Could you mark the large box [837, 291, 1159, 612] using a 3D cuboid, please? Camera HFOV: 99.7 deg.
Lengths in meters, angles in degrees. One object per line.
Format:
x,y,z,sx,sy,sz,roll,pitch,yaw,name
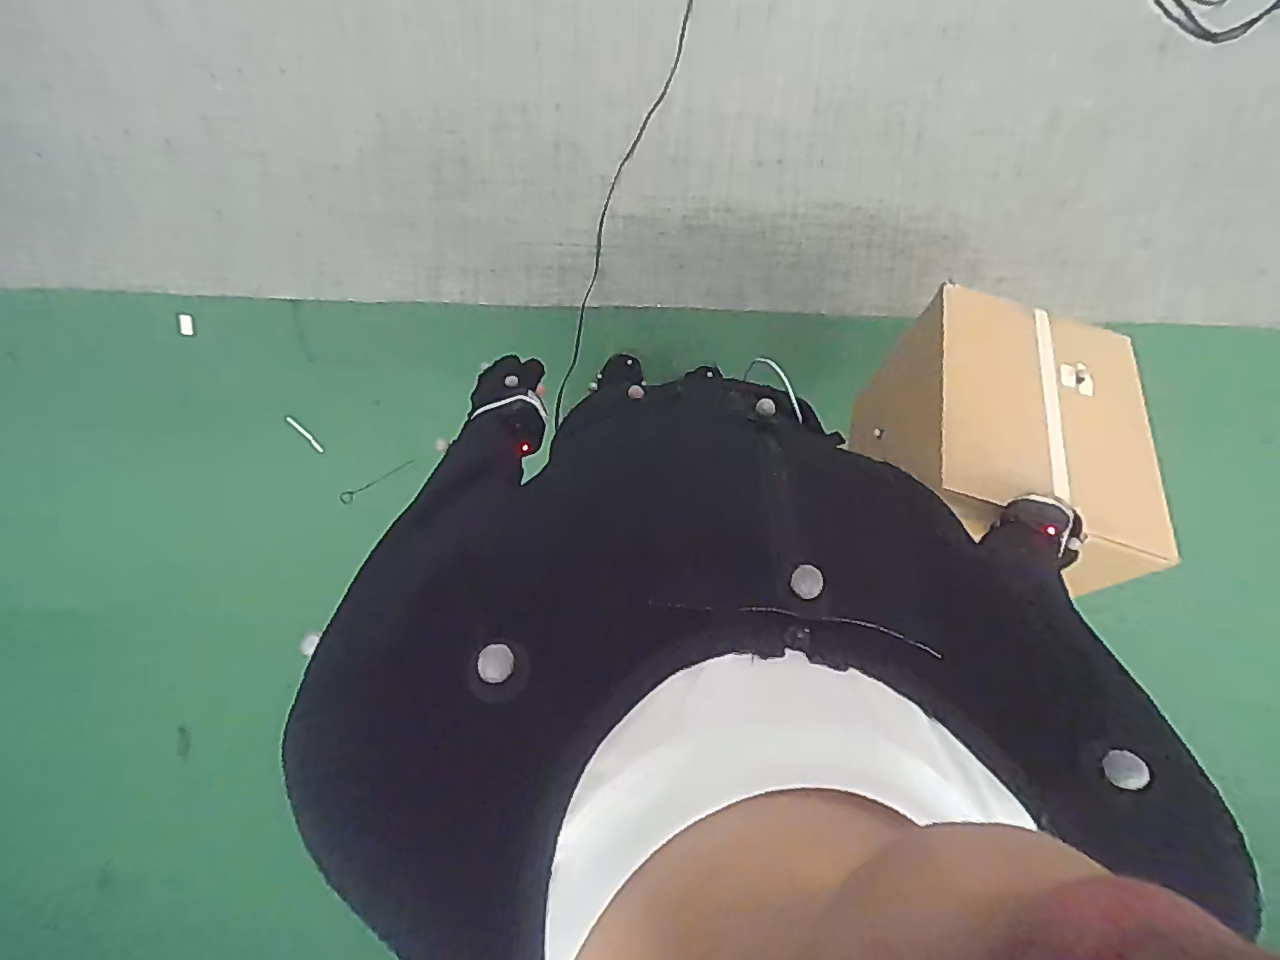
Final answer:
0.560,-0.038,0.930,0.320,0.320,0.408,18,60,1,large box
